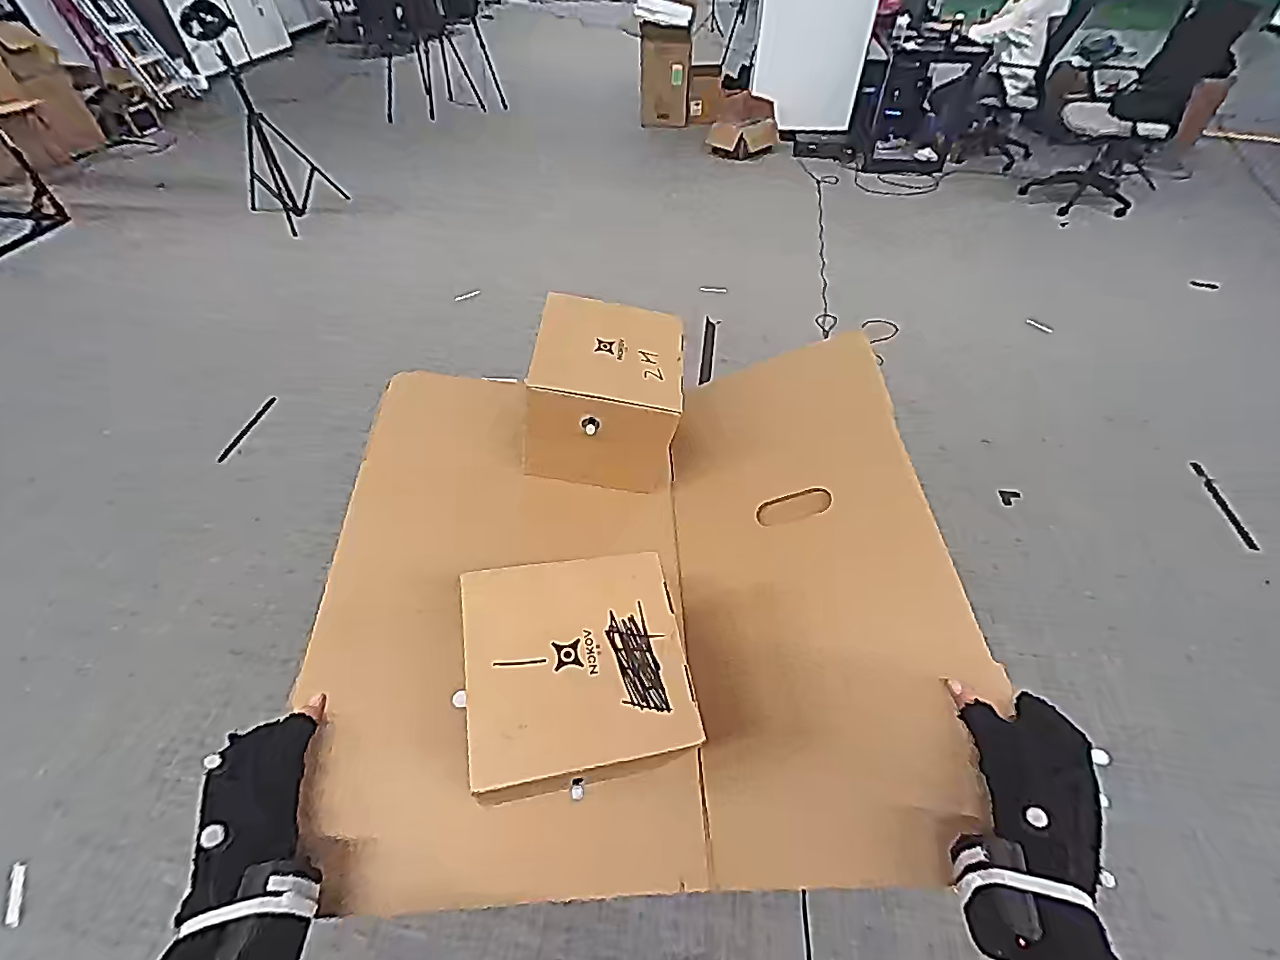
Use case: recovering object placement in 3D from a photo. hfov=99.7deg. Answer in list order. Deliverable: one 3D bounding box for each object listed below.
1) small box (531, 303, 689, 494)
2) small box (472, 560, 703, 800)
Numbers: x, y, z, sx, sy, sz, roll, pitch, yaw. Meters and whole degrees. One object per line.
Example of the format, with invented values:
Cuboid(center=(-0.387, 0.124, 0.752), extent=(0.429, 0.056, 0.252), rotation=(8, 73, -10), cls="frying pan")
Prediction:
Cuboid(center=(-0.042, -0.099, 0.709), extent=(0.179, 0.176, 0.168), rotation=(10, 55, -7), cls="small box")
Cuboid(center=(-0.062, 0.190, 0.508), extent=(0.179, 0.176, 0.168), rotation=(-4, 58, -15), cls="small box")
